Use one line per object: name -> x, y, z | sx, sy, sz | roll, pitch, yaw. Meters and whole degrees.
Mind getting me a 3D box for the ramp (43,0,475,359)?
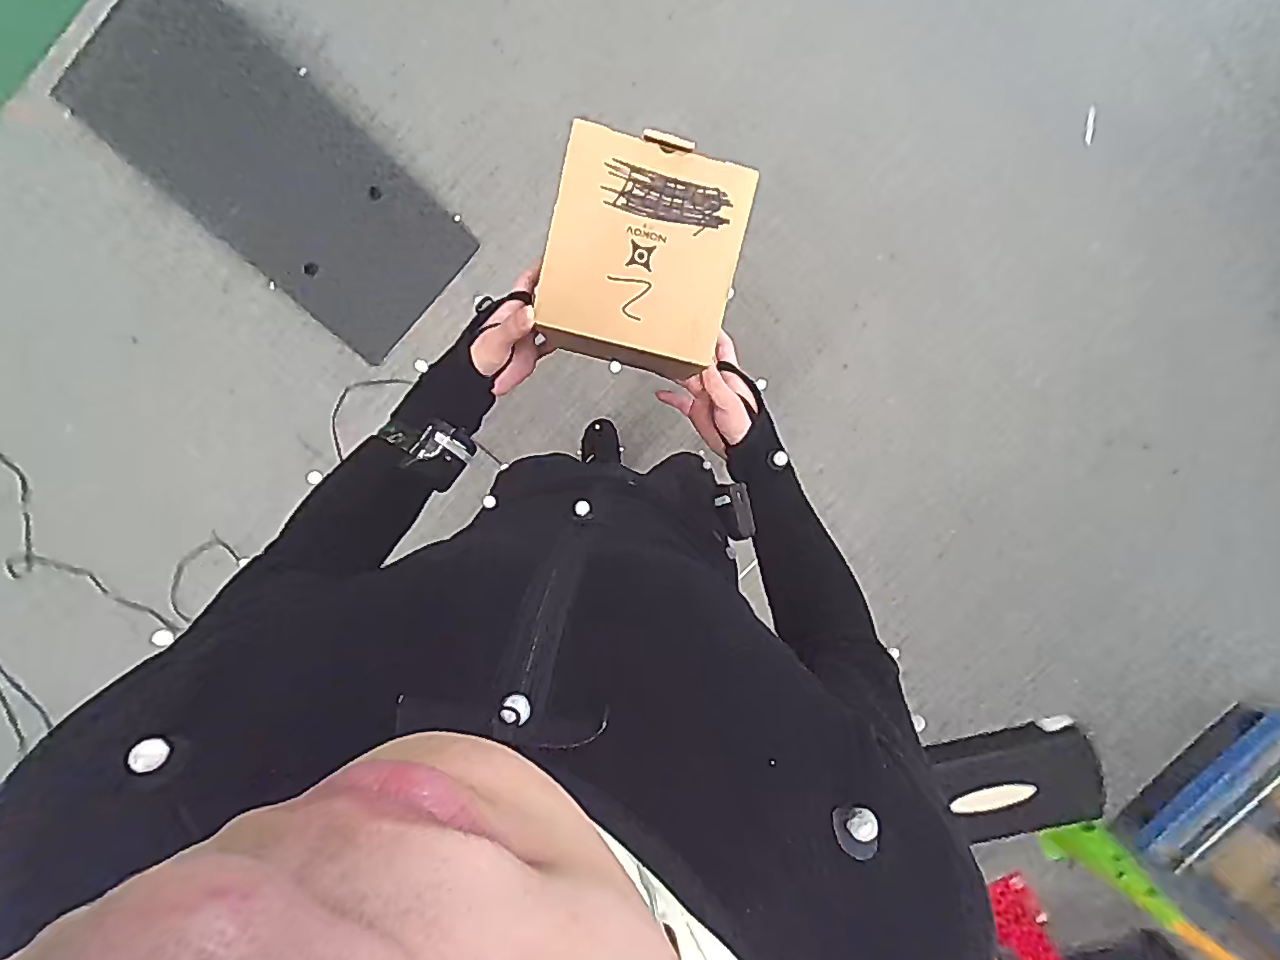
ramp -> -0.989, -0.855, 1.468 | 0.991, 0.206, 0.509 | 42, 94, -4
